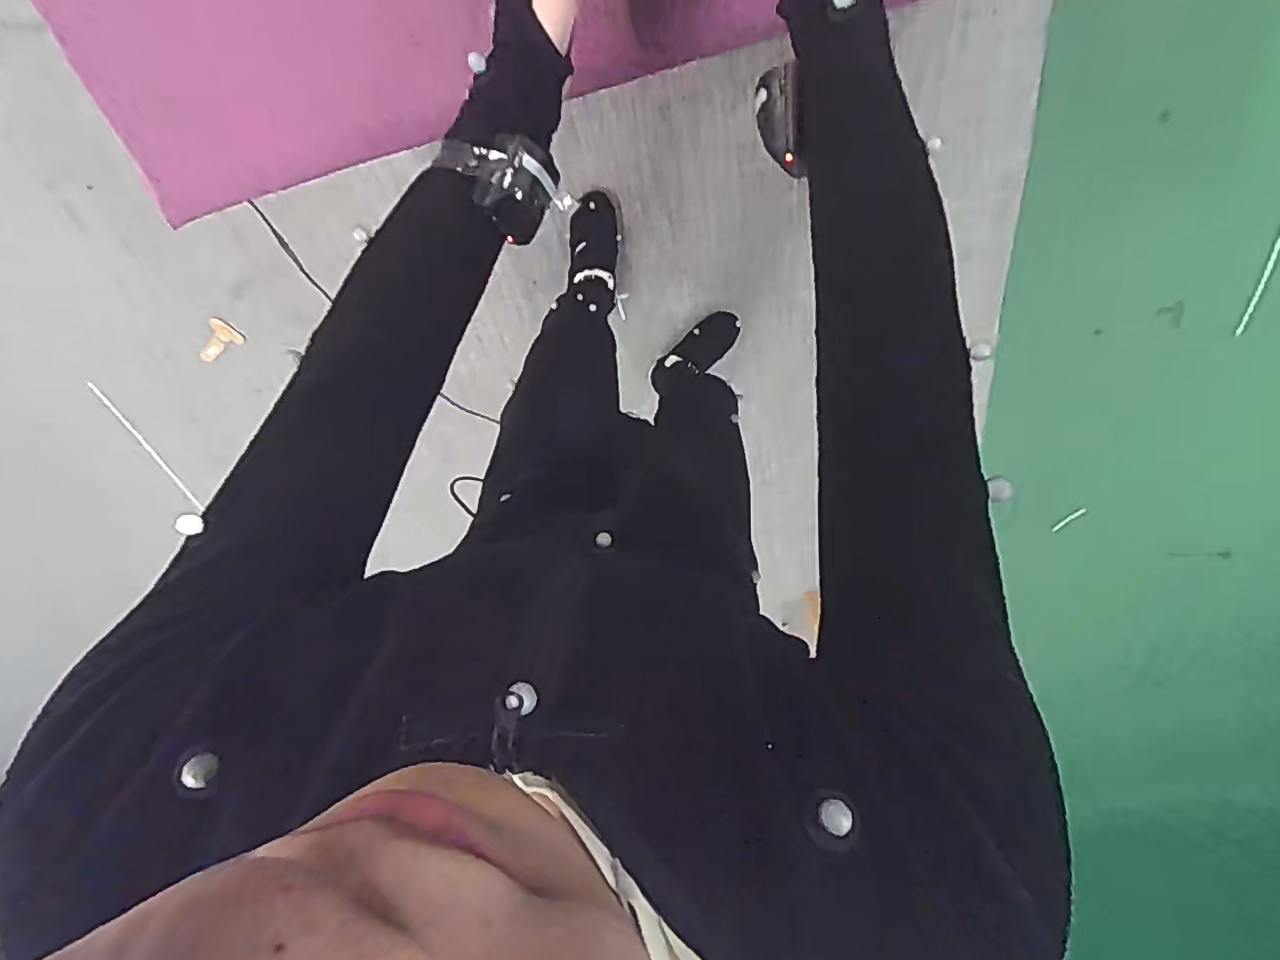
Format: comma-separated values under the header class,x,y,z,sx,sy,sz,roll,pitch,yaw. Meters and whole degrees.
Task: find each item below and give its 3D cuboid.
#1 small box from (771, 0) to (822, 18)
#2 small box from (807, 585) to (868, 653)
class,x,y,z,sx,sy,sz,roll,pitch,yaw
small box,0.319,-0.971,0.962,0.168,0.176,0.179,-17,123,10
small box,0.725,0.513,2.005,0.179,0.176,0.168,-11,125,5
